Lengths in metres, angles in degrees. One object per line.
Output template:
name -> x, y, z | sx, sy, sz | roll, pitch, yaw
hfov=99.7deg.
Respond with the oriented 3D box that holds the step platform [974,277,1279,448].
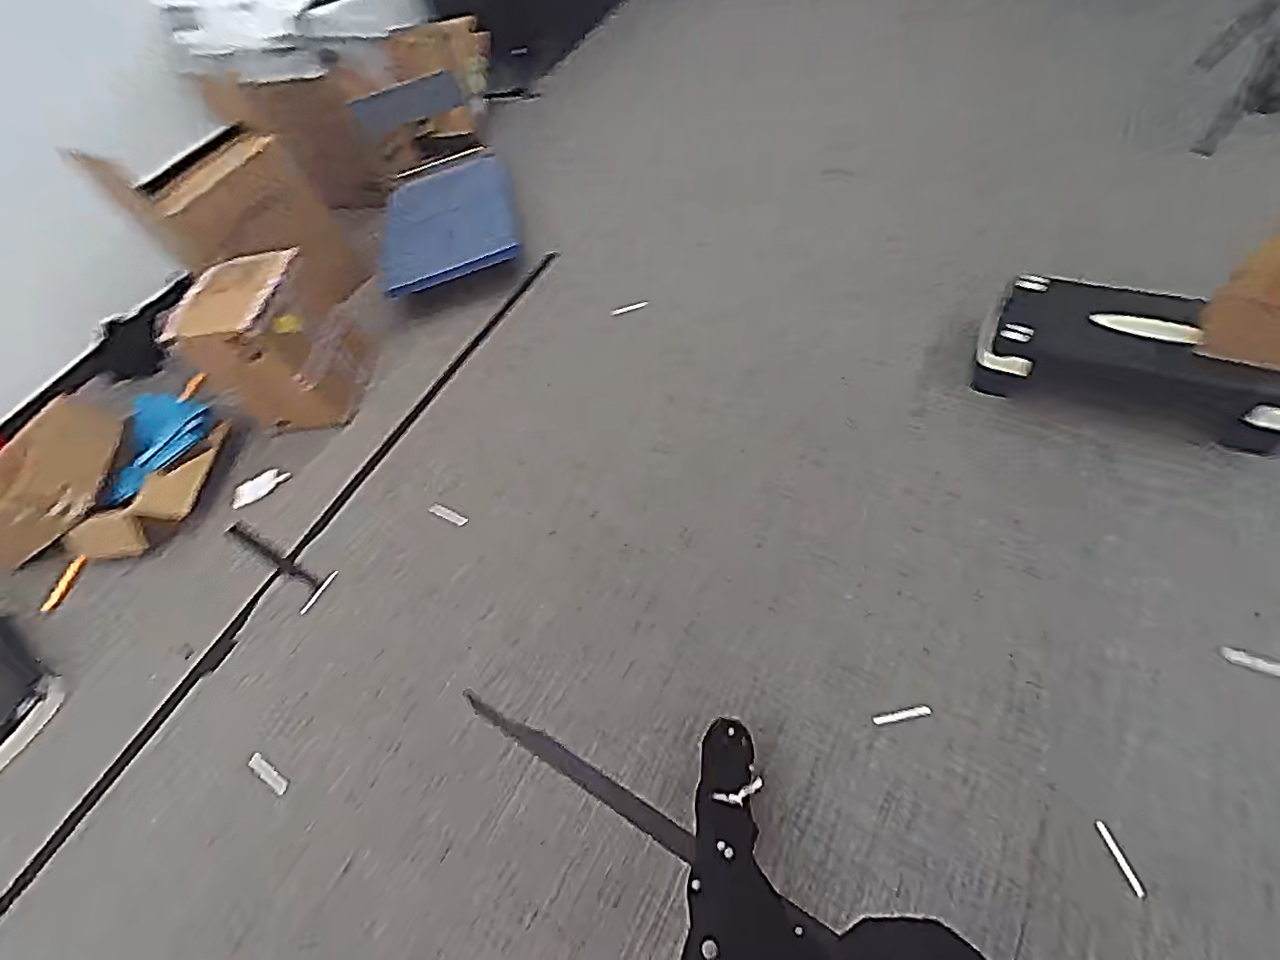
step platform -> 1.284, -0.328, 1.402 | 0.684, 0.204, 0.286 | 20, 64, 26
